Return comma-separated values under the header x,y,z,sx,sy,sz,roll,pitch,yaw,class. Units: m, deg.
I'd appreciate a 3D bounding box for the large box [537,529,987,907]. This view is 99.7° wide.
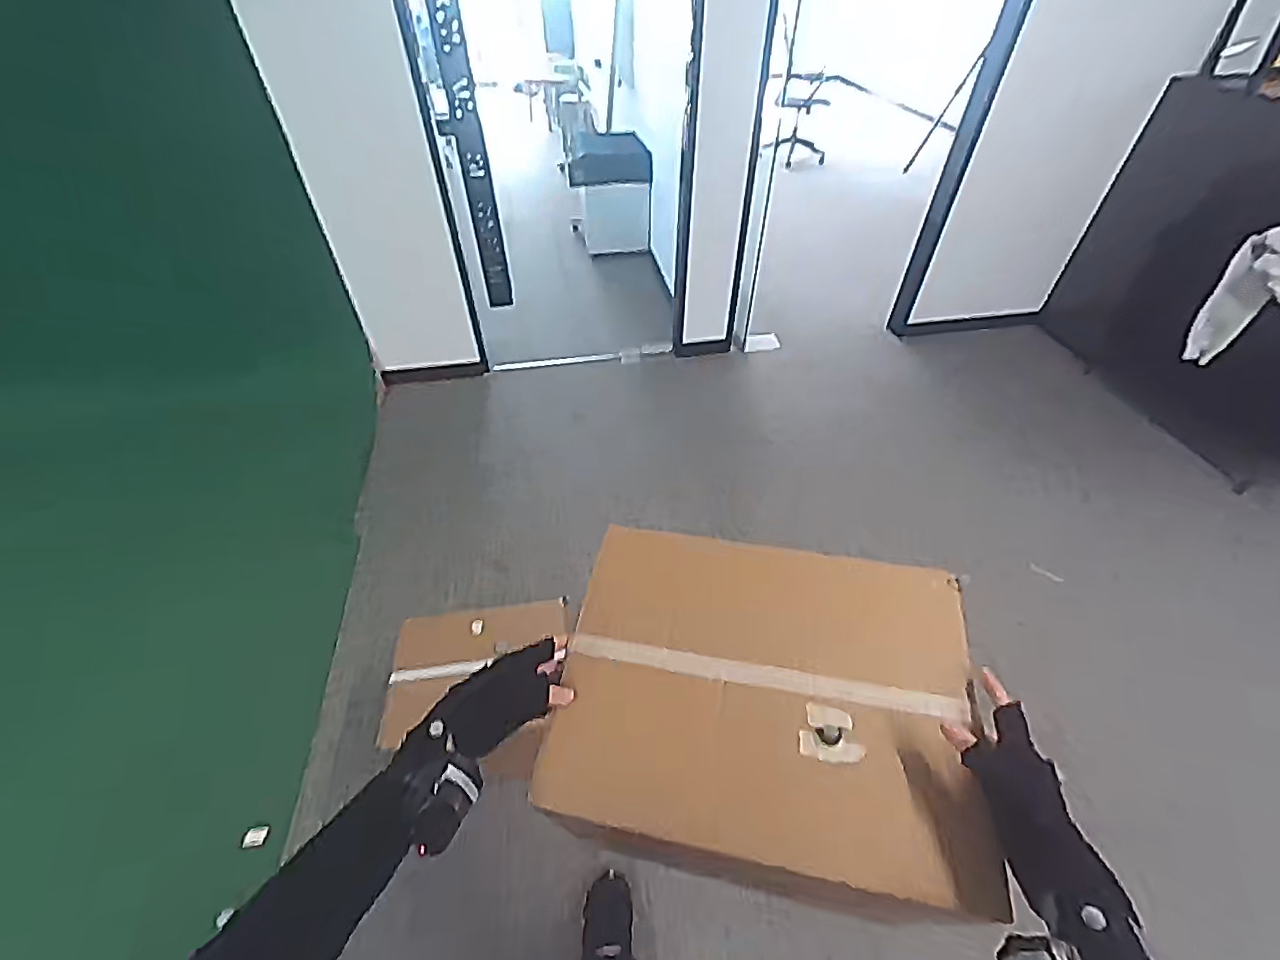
x,y,z,sx,sy,sz,roll,pitch,yaw,class
0.130,0.295,0.682,0.408,0.320,0.320,8,51,10,large box
